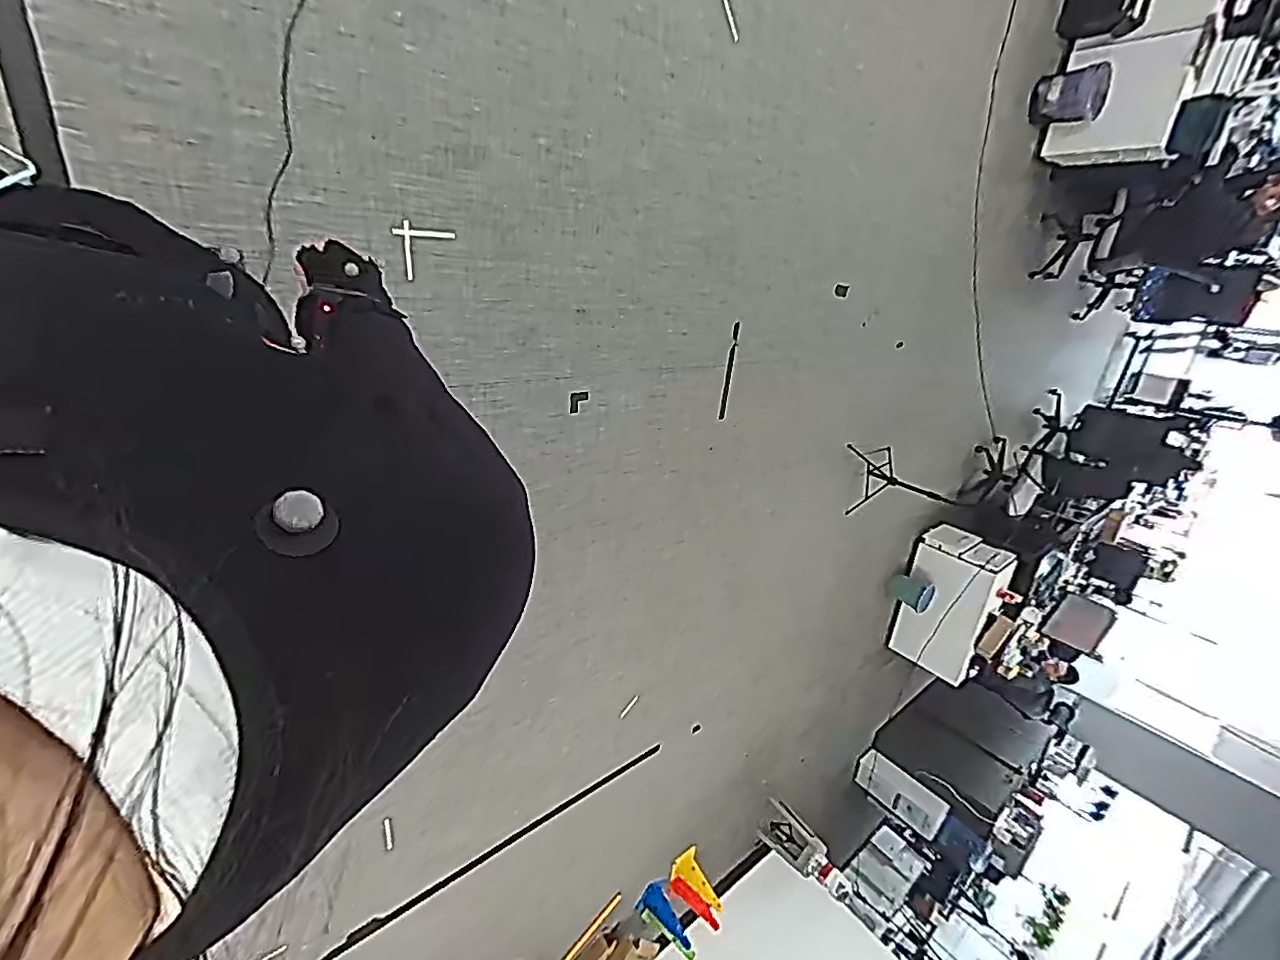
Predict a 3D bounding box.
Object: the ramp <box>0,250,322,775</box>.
[{"bbox_3d":[-1.013,0.065,1.119,0.509,0.206,0.991,-12,116,-36],"label":"ramp"}]
